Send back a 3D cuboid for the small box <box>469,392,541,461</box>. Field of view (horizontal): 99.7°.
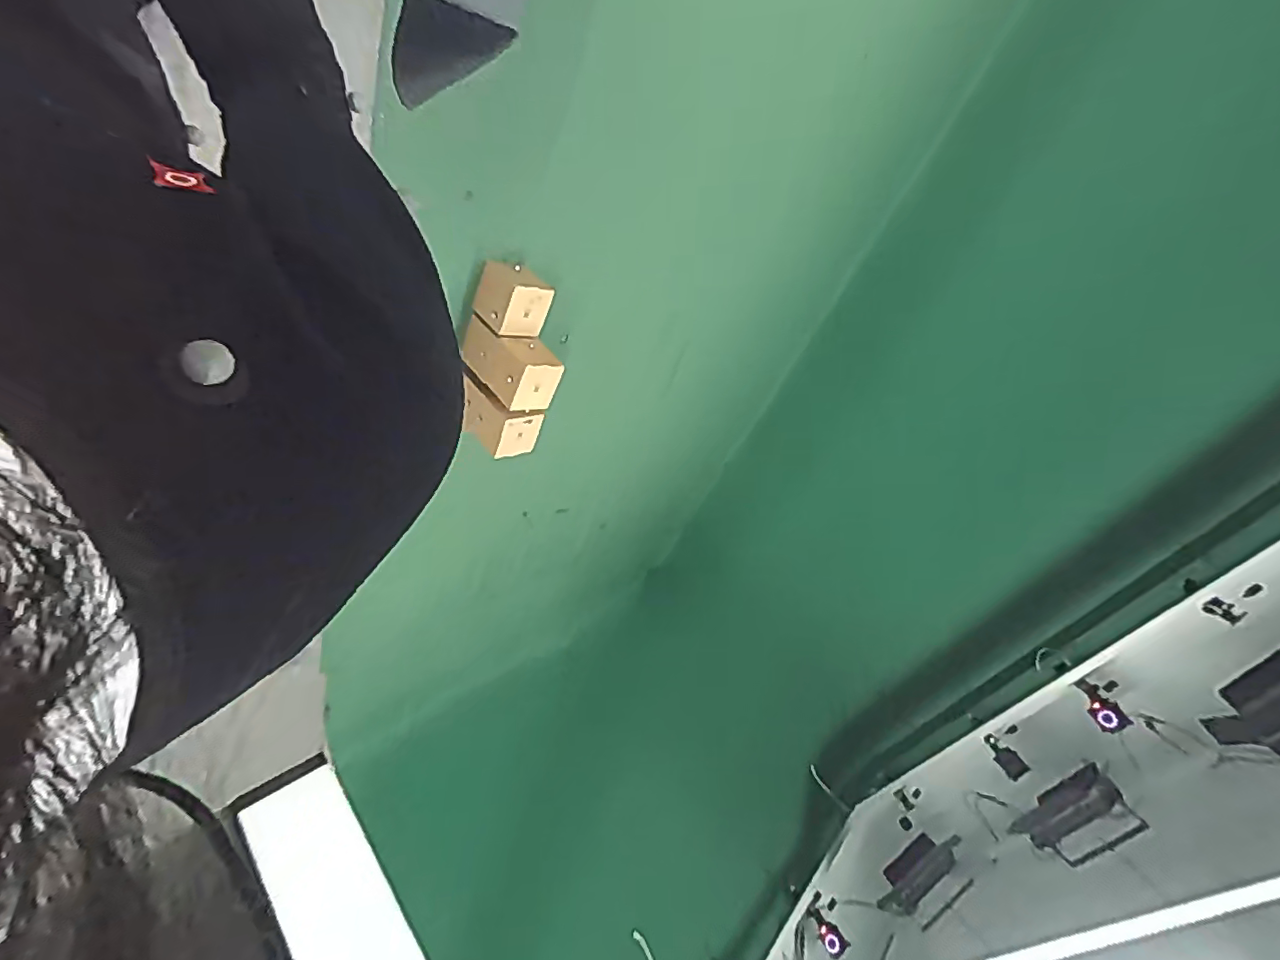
[{"bbox_3d":[-0.488,-0.198,1.932,0.168,0.176,0.179,-18,145,-47],"label":"small box"}]

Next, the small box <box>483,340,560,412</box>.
[{"bbox_3d":[-0.405,-0.349,1.827,0.168,0.176,0.179,-12,139,-50],"label":"small box"}]
